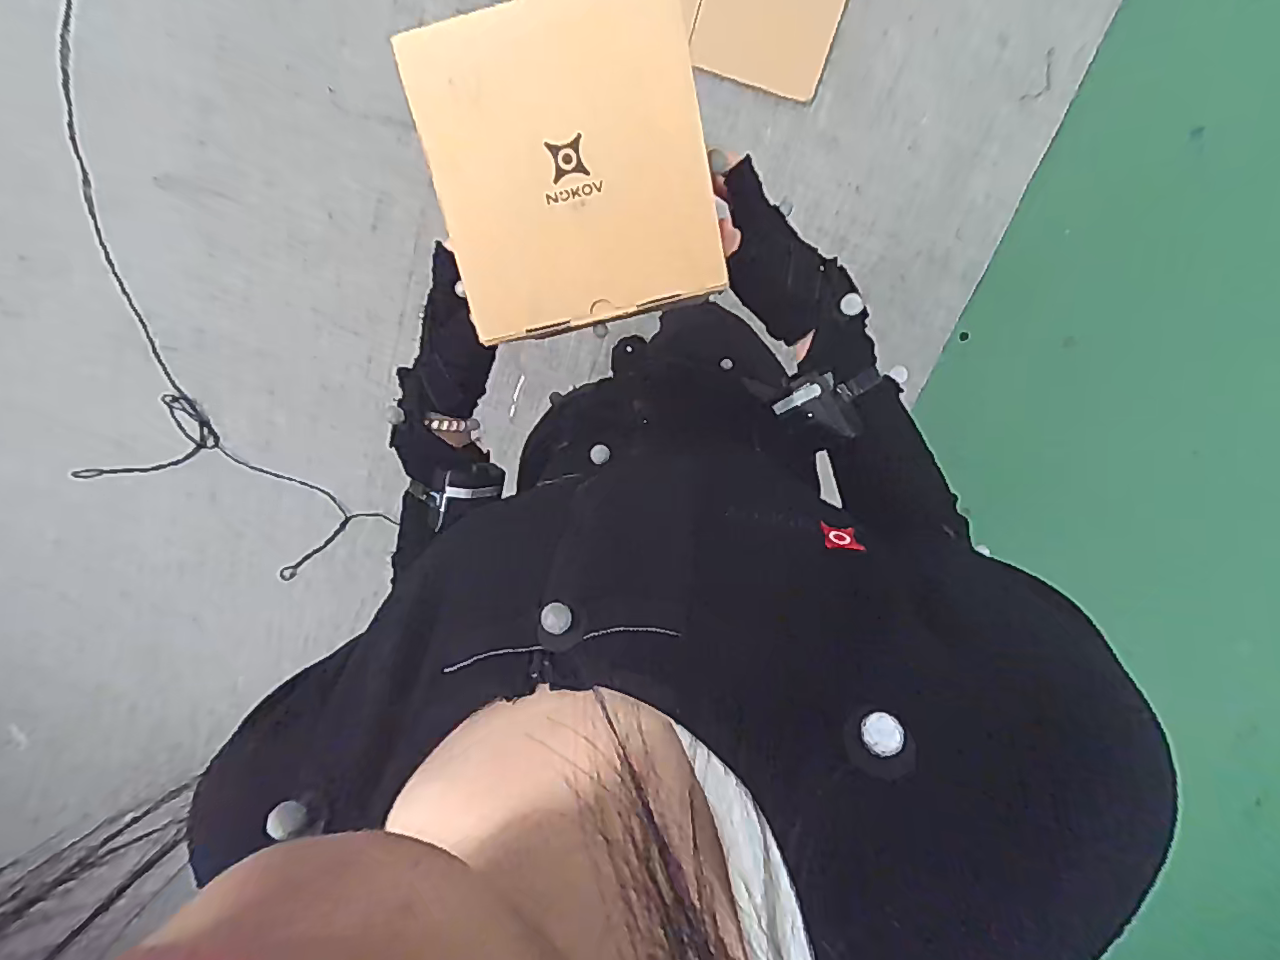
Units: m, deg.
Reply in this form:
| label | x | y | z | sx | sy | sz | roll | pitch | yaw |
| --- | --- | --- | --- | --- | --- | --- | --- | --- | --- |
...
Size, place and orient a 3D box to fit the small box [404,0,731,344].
| label | x | y | z | sx | sy | sz | roll | pitch | yaw |
| --- | --- | --- | --- | --- | --- | --- | --- | --- | --- |
| small box | -0.039 | -0.207 | 0.403 | 0.168 | 0.176 | 0.179 | -13 | 106 | 4 |
